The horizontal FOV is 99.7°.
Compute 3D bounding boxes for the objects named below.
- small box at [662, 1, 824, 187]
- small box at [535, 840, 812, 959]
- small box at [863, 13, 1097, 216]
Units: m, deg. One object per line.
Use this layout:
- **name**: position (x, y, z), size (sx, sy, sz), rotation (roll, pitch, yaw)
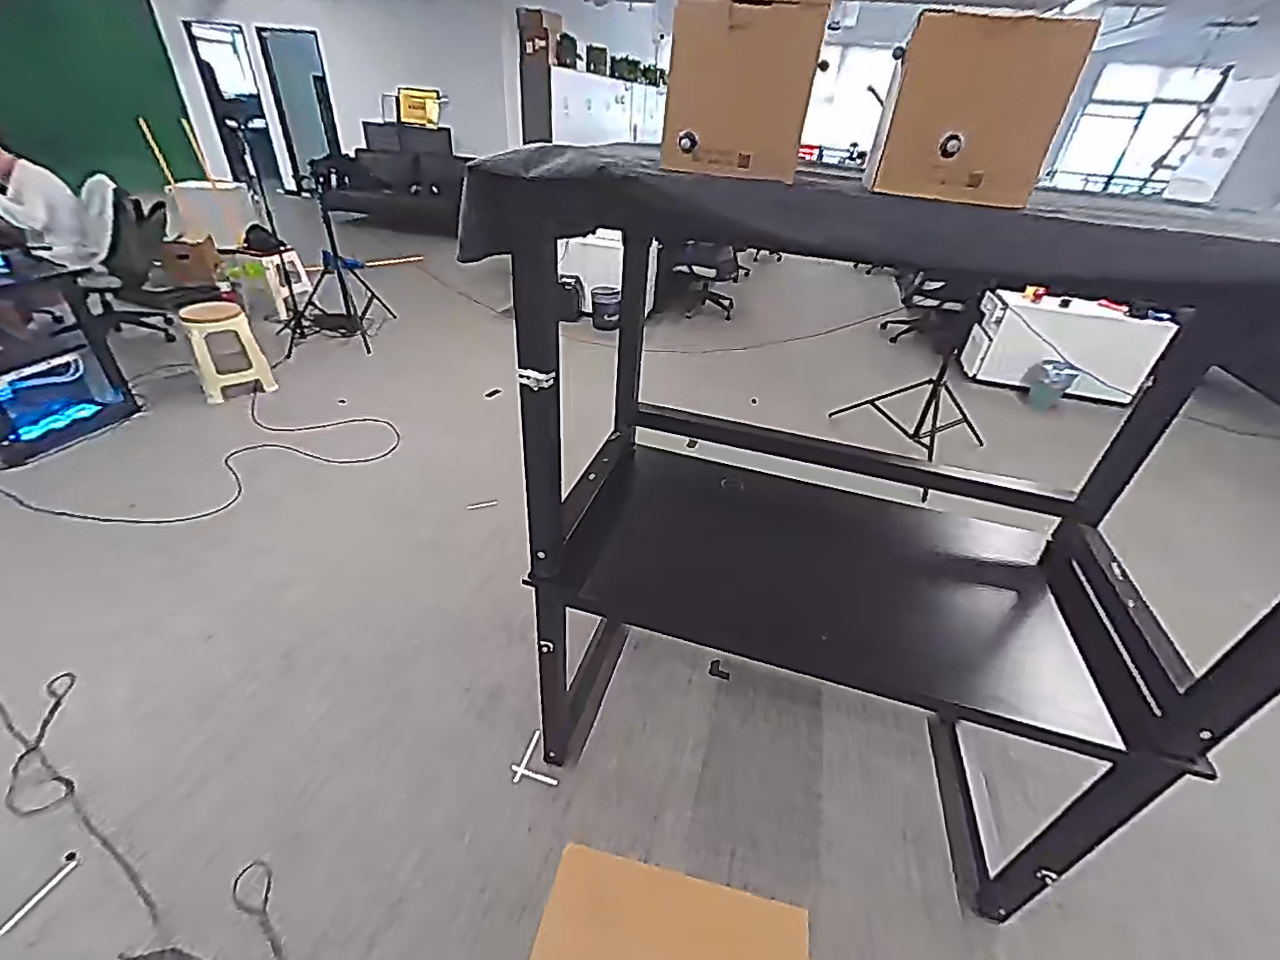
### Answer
- **small box**: position (0.128, -0.476, 0.686), size (0.168, 0.176, 0.179), rotation (12, 33, 9)
- **small box**: position (0.006, 0.374, 0.335), size (0.168, 0.176, 0.179), rotation (10, 34, 9)
- **small box**: position (0.375, -0.423, 0.642), size (0.168, 0.176, 0.179), rotation (12, 33, 11)
